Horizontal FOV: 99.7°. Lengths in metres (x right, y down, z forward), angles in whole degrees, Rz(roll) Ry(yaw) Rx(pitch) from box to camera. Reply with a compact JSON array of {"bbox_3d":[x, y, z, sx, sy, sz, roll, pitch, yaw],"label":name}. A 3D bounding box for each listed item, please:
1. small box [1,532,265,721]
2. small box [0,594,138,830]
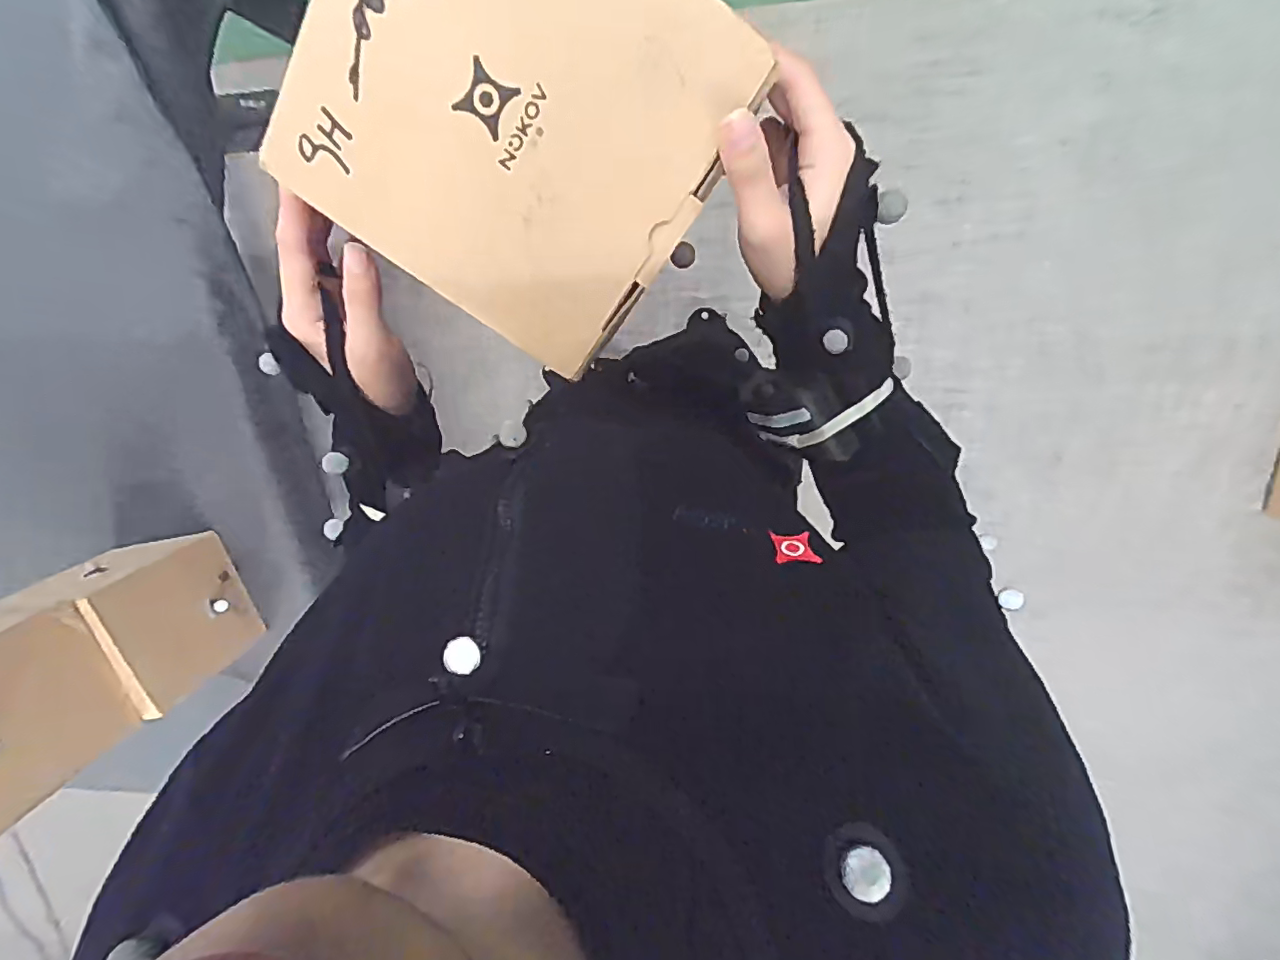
[{"bbox_3d":[-0.635,0.183,0.684,0.179,0.176,0.168,-11,109,10],"label":"small box"},{"bbox_3d":[-0.667,0.236,0.533,0.168,0.176,0.179,-7,109,7],"label":"small box"}]
